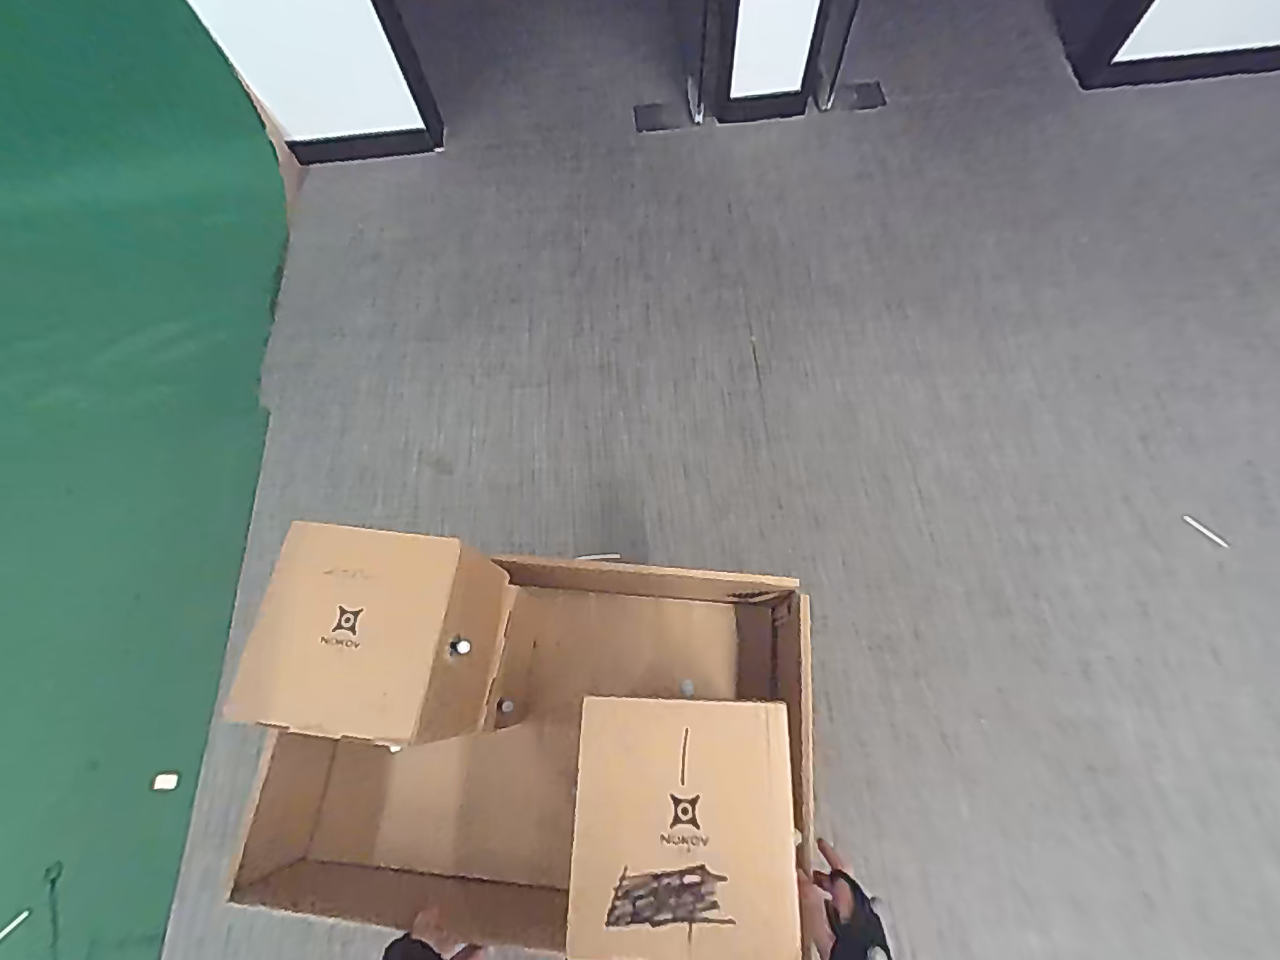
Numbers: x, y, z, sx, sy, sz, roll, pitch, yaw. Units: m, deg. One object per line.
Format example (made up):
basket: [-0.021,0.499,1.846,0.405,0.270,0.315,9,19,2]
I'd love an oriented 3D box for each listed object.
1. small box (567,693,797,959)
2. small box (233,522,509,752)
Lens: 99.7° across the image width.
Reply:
small box: [0.037,0.288,0.481,0.168,0.176,0.179,2,68,3]
small box: [-0.244,0.157,0.544,0.168,0.176,0.179,7,69,5]
